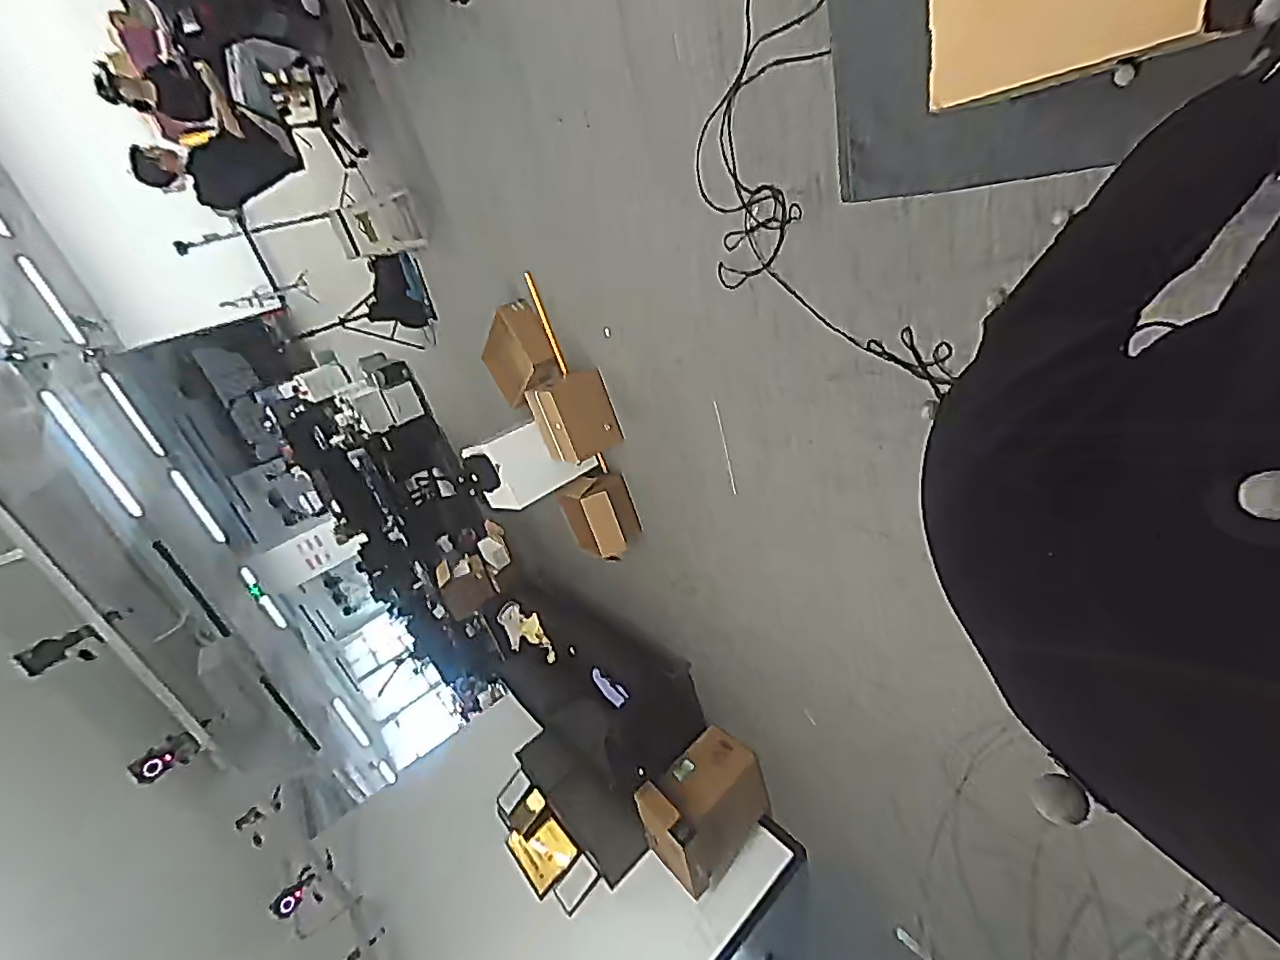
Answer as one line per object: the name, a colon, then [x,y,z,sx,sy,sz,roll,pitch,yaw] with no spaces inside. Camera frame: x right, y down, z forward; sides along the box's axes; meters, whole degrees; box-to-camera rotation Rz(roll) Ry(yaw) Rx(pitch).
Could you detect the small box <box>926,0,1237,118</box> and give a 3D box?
small box: [0.354,-0.414,0.428,0.179,0.176,0.168,18,129,49]
